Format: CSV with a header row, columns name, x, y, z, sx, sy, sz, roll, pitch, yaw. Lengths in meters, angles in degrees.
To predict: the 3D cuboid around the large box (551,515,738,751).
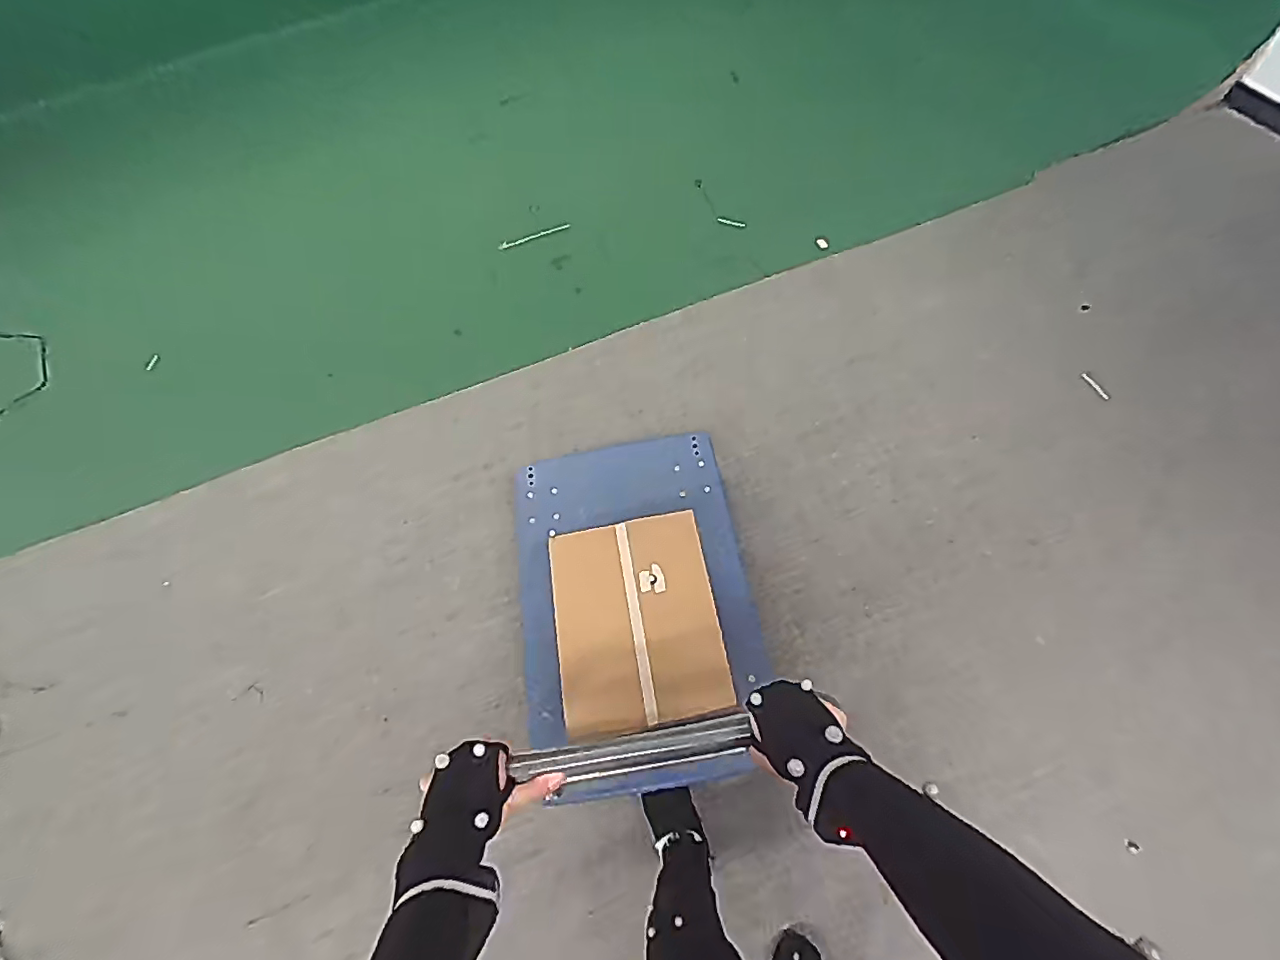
name,x,y,z,sx,sy,sz,roll,pitch,yaw
large box,0.009,0.342,1.184,0.320,0.320,0.408,-10,61,0
